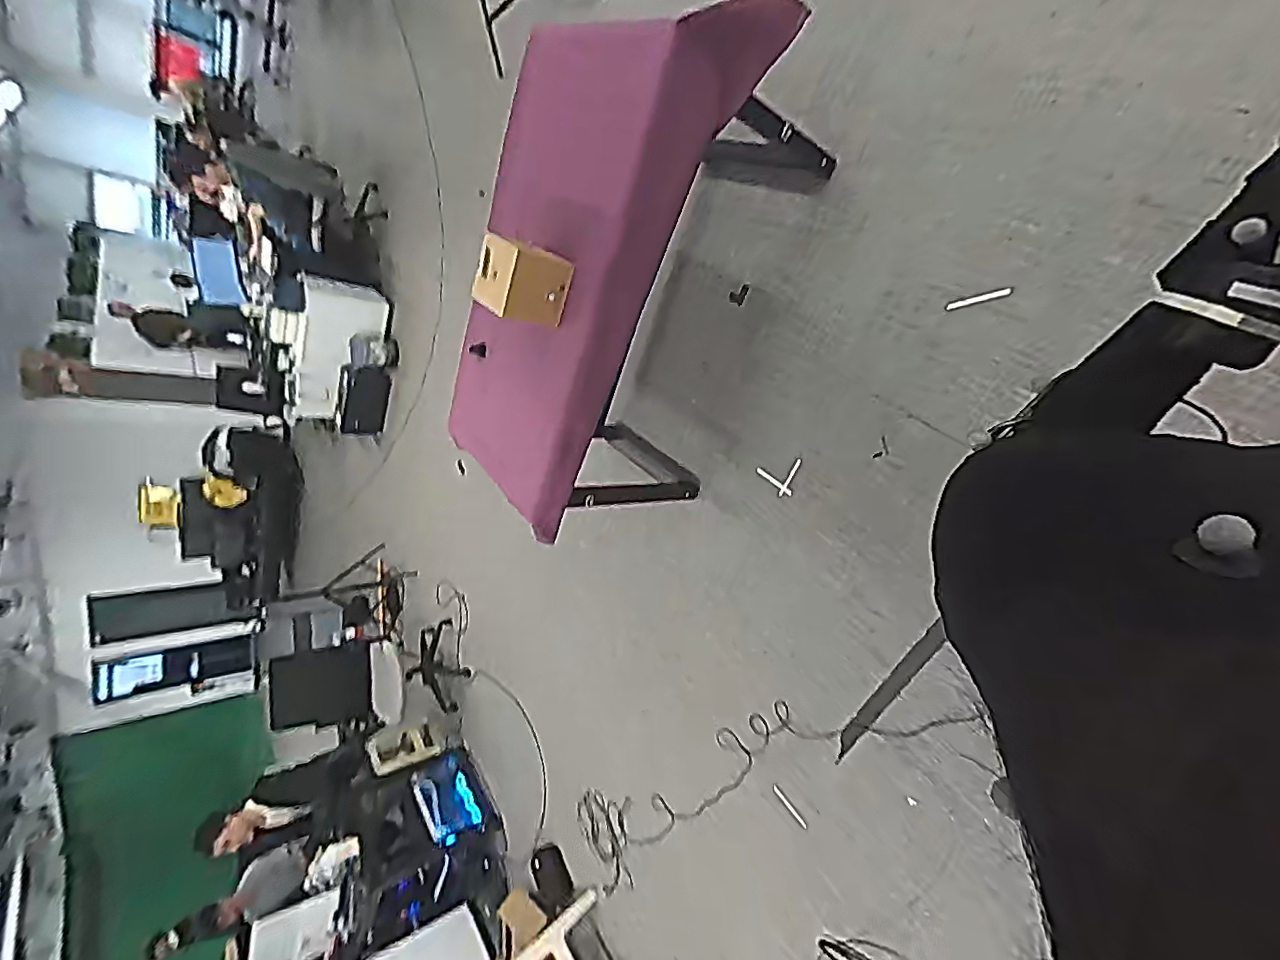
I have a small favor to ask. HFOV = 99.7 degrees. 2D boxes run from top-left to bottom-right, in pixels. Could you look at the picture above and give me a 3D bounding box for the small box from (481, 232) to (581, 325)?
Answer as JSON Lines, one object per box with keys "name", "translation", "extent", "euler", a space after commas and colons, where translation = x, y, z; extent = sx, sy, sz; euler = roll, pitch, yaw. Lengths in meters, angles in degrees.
{"name": "small box", "translation": [-0.280, -0.512, 1.388], "extent": [0.179, 0.176, 0.168], "euler": [40, 120, 38]}
